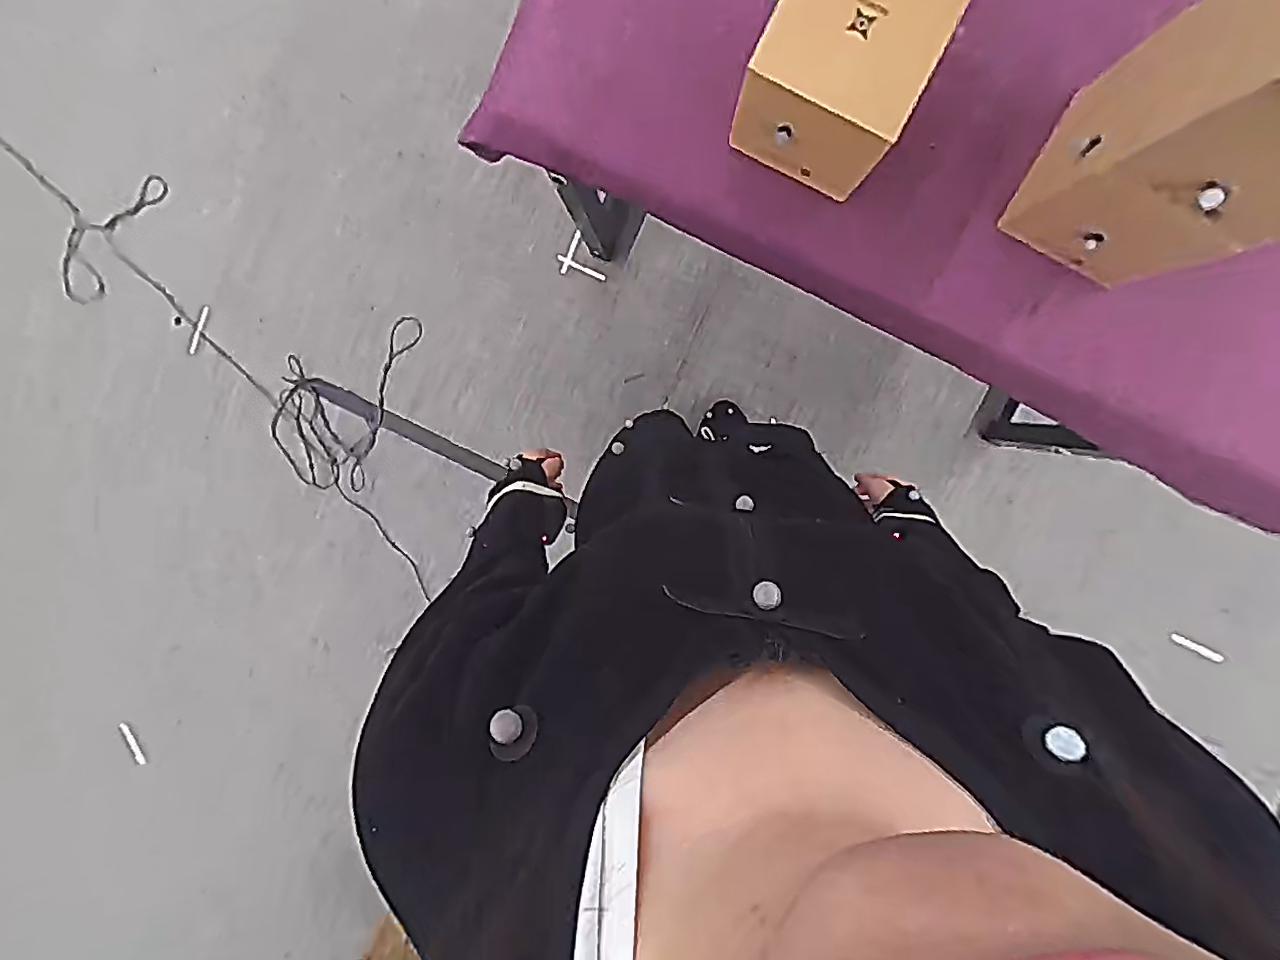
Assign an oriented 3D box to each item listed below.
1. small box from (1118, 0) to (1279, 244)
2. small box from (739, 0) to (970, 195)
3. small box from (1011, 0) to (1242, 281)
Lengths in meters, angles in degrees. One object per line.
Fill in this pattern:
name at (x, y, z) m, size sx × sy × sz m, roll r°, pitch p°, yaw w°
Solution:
small box at (0.556, -0.326, 0.433) m, size 0.168 × 0.176 × 0.179 m, roll 28°, pitch 99°, yaw -1°
small box at (0.222, -0.456, 0.599) m, size 0.168 × 0.176 × 0.179 m, roll 26°, pitch 97°, yaw -1°
small box at (0.560, -0.346, 0.596) m, size 0.168 × 0.176 × 0.179 m, roll 28°, pitch 98°, yaw -2°
